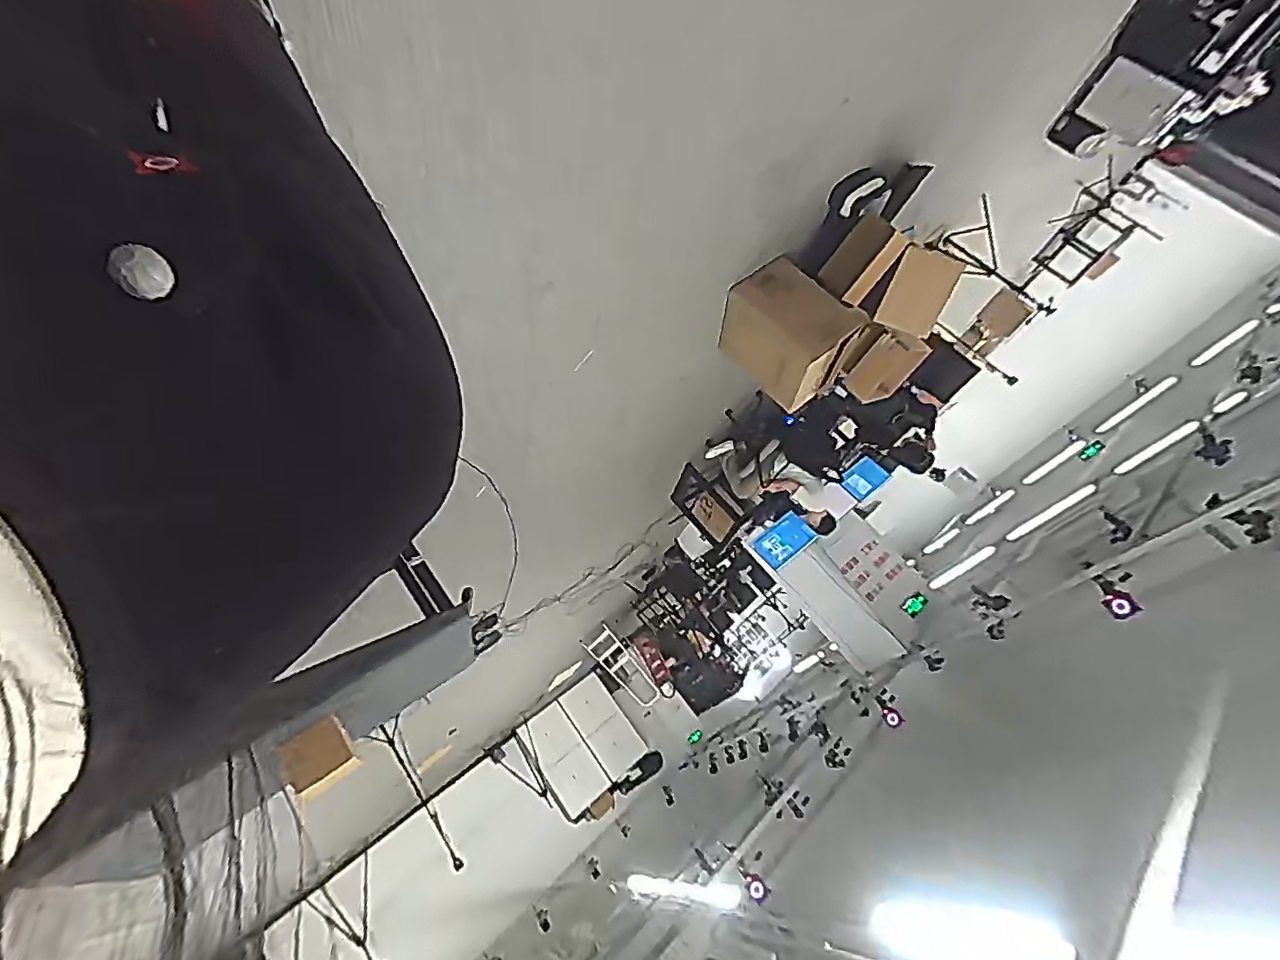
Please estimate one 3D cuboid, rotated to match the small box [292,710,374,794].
[{"bbox_3d":[-1.017,0.898,1.788,0.179,0.176,0.168,-32,161,-30],"label":"small box"}]
